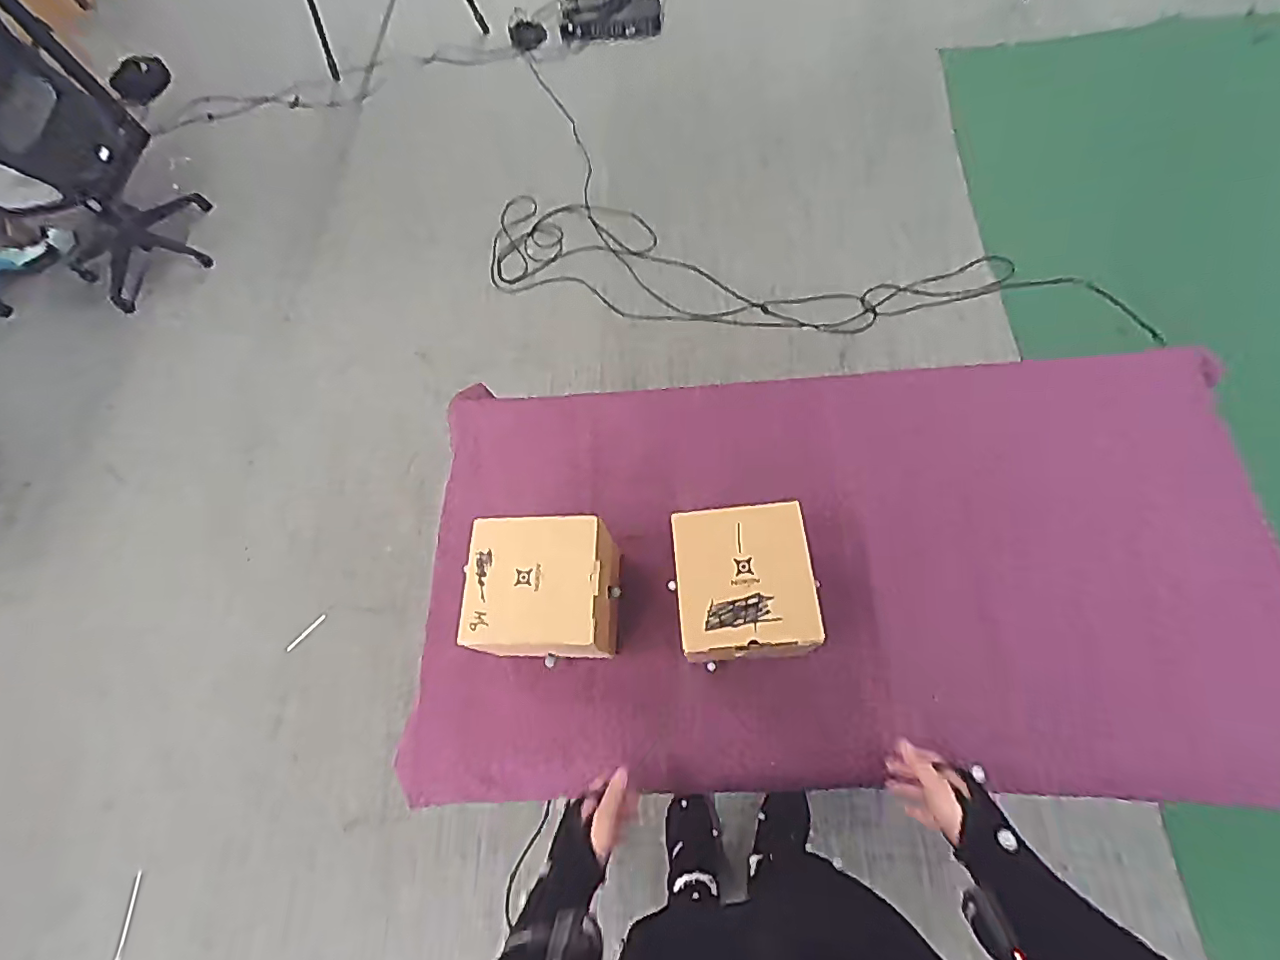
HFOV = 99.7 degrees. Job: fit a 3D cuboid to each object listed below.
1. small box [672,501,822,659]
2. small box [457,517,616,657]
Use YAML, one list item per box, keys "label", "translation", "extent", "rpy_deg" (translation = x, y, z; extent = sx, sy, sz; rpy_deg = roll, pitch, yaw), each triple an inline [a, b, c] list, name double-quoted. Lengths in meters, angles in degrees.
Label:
- label: "small box"
  translation: [0.135, 0.144, 0.729]
  extent: [0.168, 0.176, 0.179]
  rpy_deg: [-6, 66, 5]
- label: "small box"
  translation: [-0.130, 0.155, 0.758]
  extent: [0.179, 0.176, 0.168]
  rpy_deg: [-1, 67, 6]
